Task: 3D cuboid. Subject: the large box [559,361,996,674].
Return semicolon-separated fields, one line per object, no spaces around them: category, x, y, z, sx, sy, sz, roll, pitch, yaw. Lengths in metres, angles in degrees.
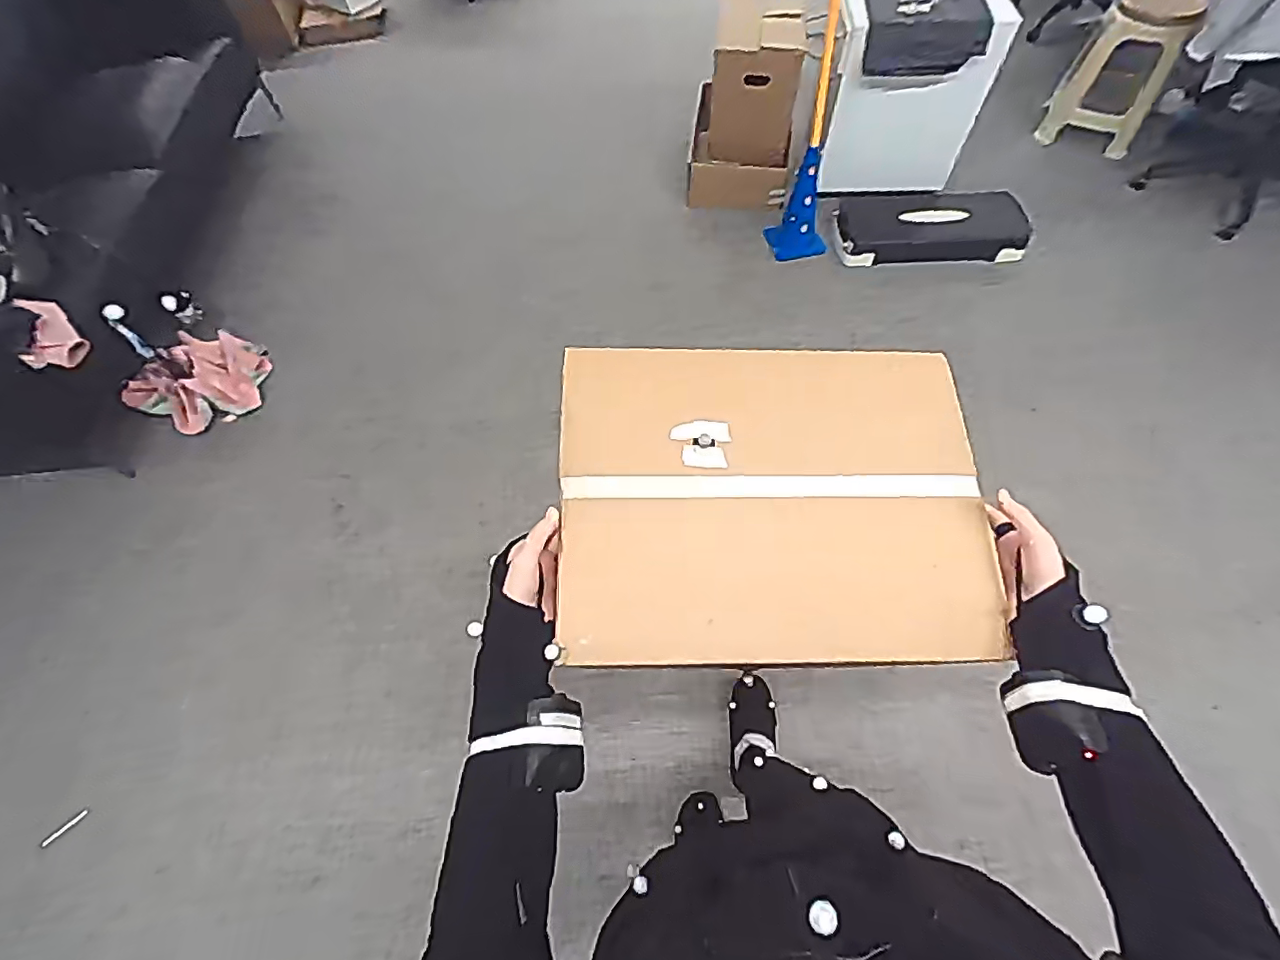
large box;0.119;0.070;0.671;0.408;0.320;0.320;-1;69;-2
